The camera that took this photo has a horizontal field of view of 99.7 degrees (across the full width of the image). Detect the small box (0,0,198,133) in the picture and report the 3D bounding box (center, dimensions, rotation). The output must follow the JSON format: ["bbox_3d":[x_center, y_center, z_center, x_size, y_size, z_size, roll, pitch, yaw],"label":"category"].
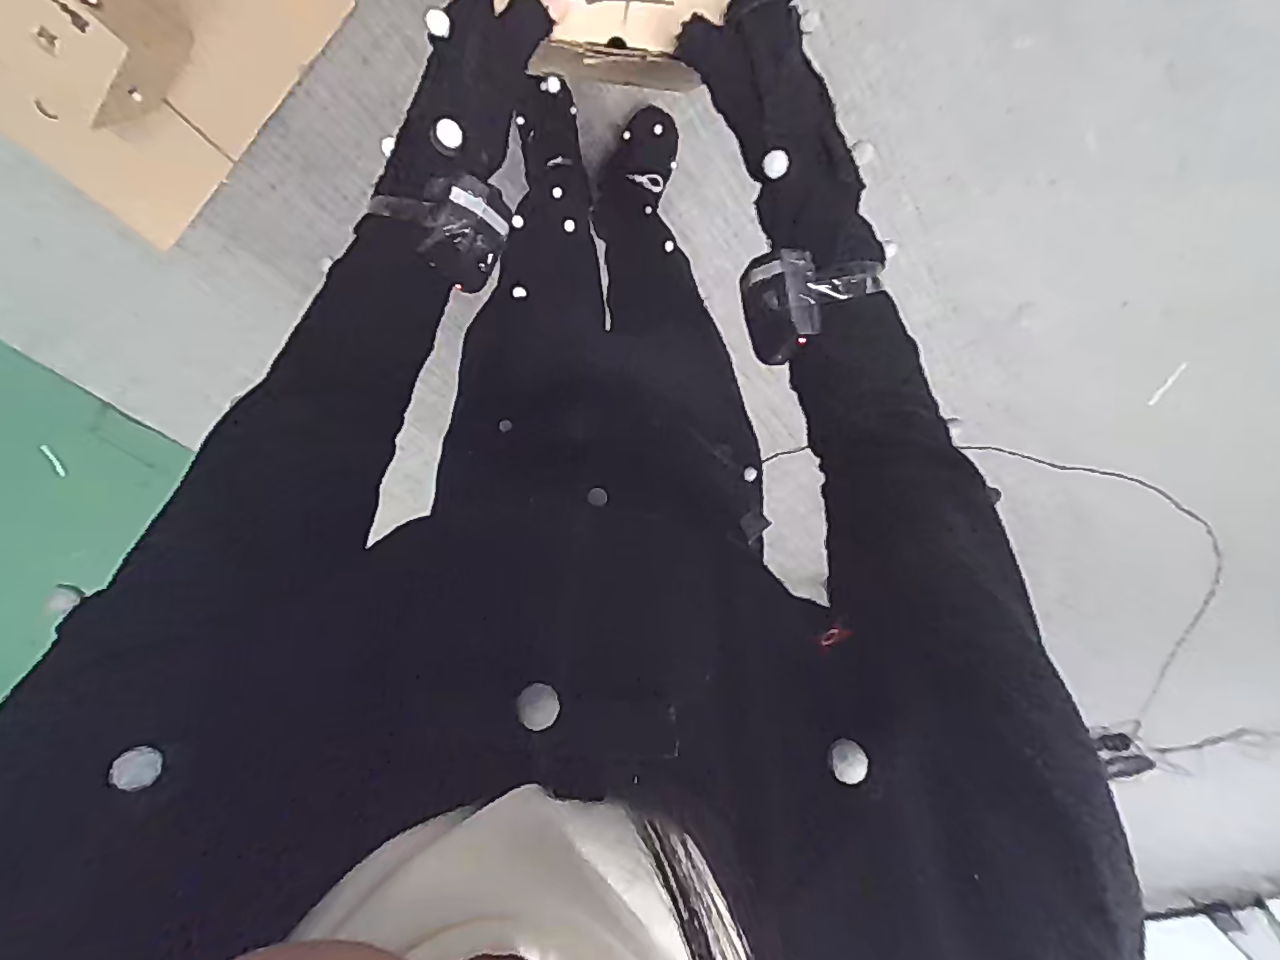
[{"bbox_3d":[-0.868,-0.707,0.869,0.179,0.176,0.168,-33,123,27],"label":"small box"}]

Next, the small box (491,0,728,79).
[{"bbox_3d":[-0.022,-0.419,0.407,0.168,0.176,0.179,0,121,-4],"label":"small box"}]
